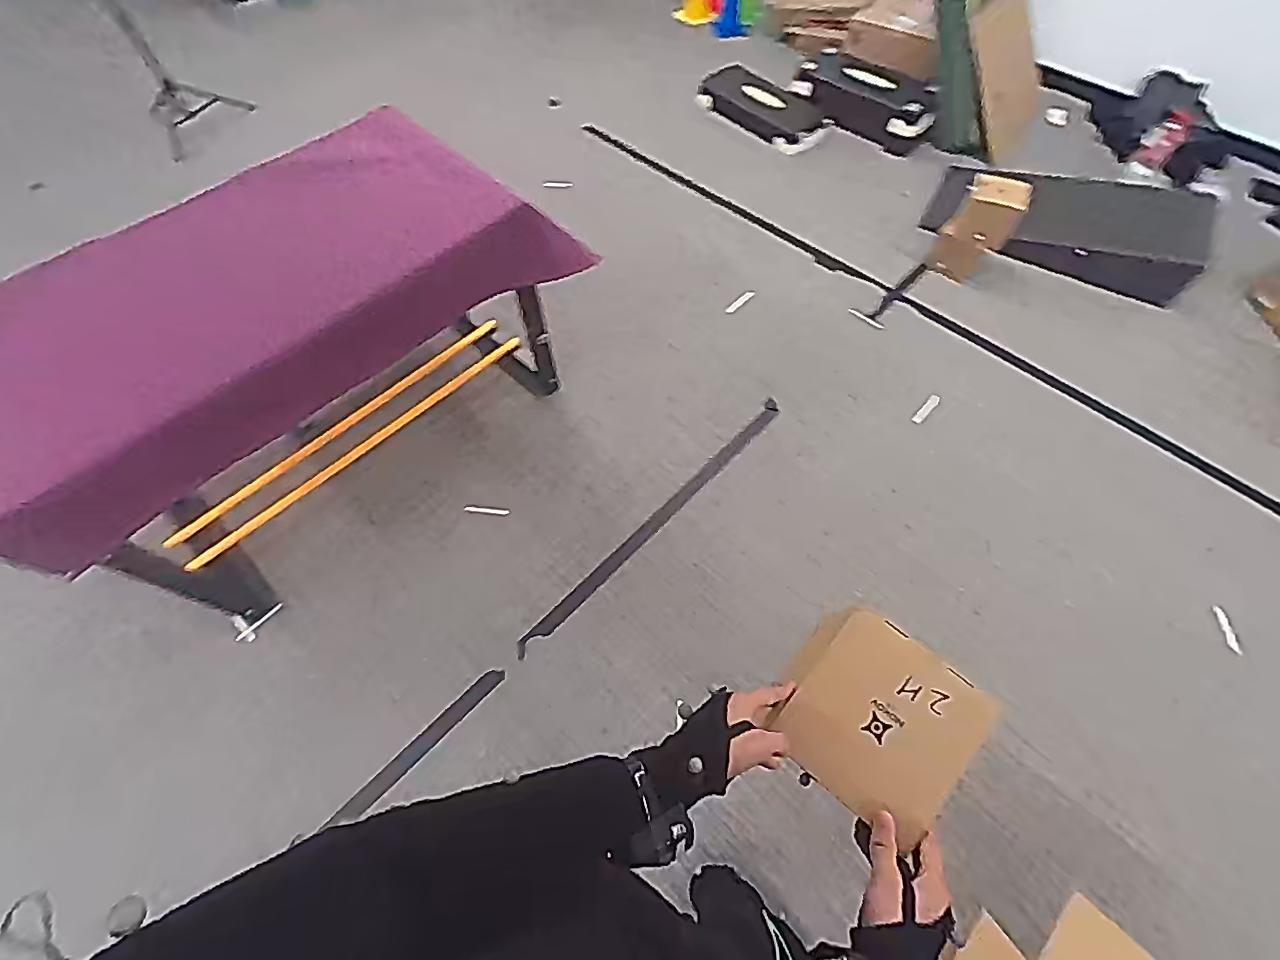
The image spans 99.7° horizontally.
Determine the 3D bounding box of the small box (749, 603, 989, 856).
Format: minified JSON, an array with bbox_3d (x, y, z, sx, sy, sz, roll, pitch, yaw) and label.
[{"bbox_3d":[0.239,0.267,0.616,0.168,0.176,0.179,38,78,15],"label":"small box"}]
